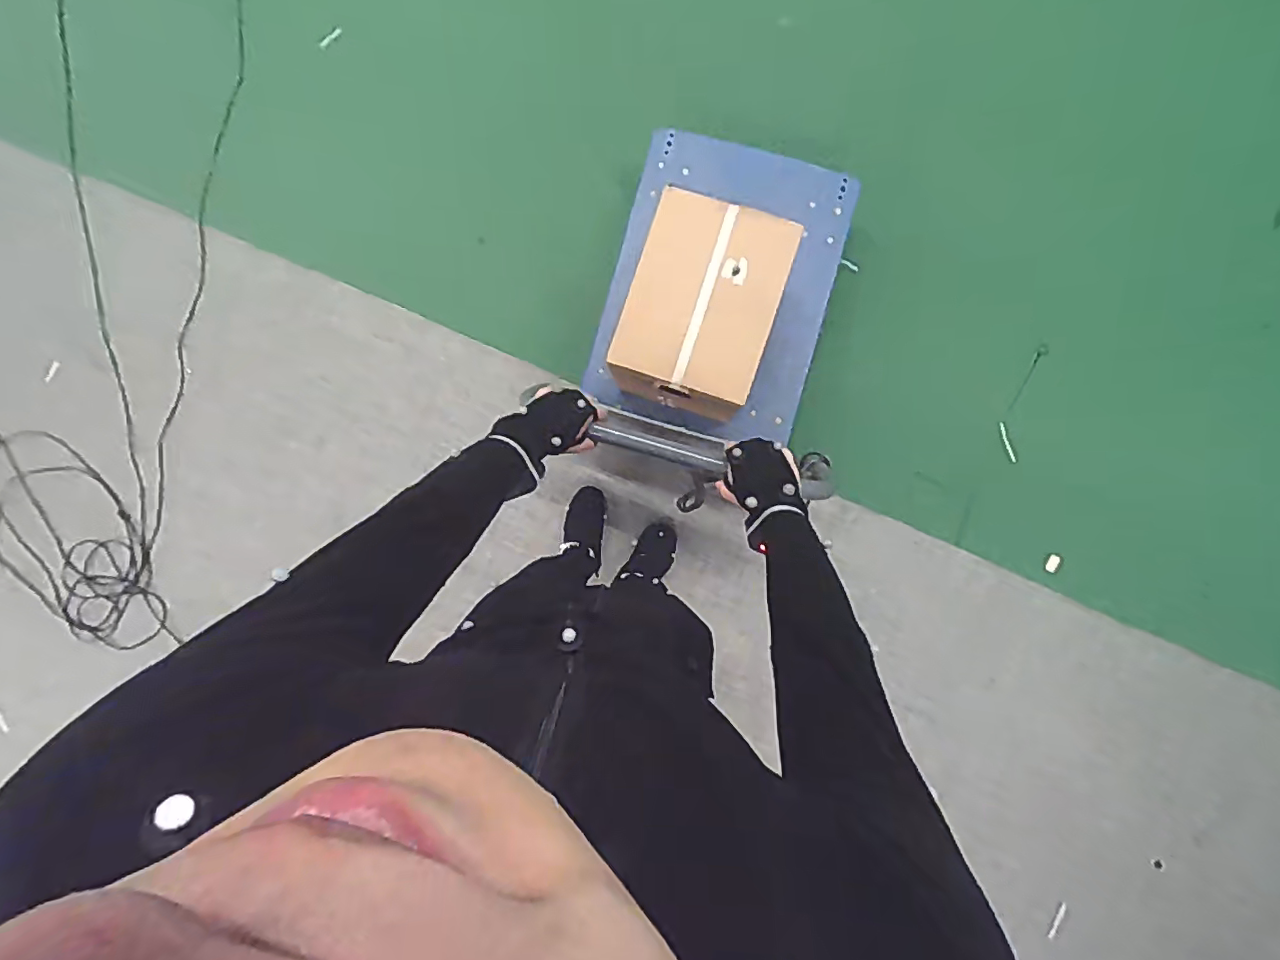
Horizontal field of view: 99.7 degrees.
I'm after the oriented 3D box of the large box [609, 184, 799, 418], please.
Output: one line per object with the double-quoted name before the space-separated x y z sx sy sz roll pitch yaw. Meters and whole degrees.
"large box" 0.143 -0.397 1.298 0.320 0.320 0.408 19 90 2
